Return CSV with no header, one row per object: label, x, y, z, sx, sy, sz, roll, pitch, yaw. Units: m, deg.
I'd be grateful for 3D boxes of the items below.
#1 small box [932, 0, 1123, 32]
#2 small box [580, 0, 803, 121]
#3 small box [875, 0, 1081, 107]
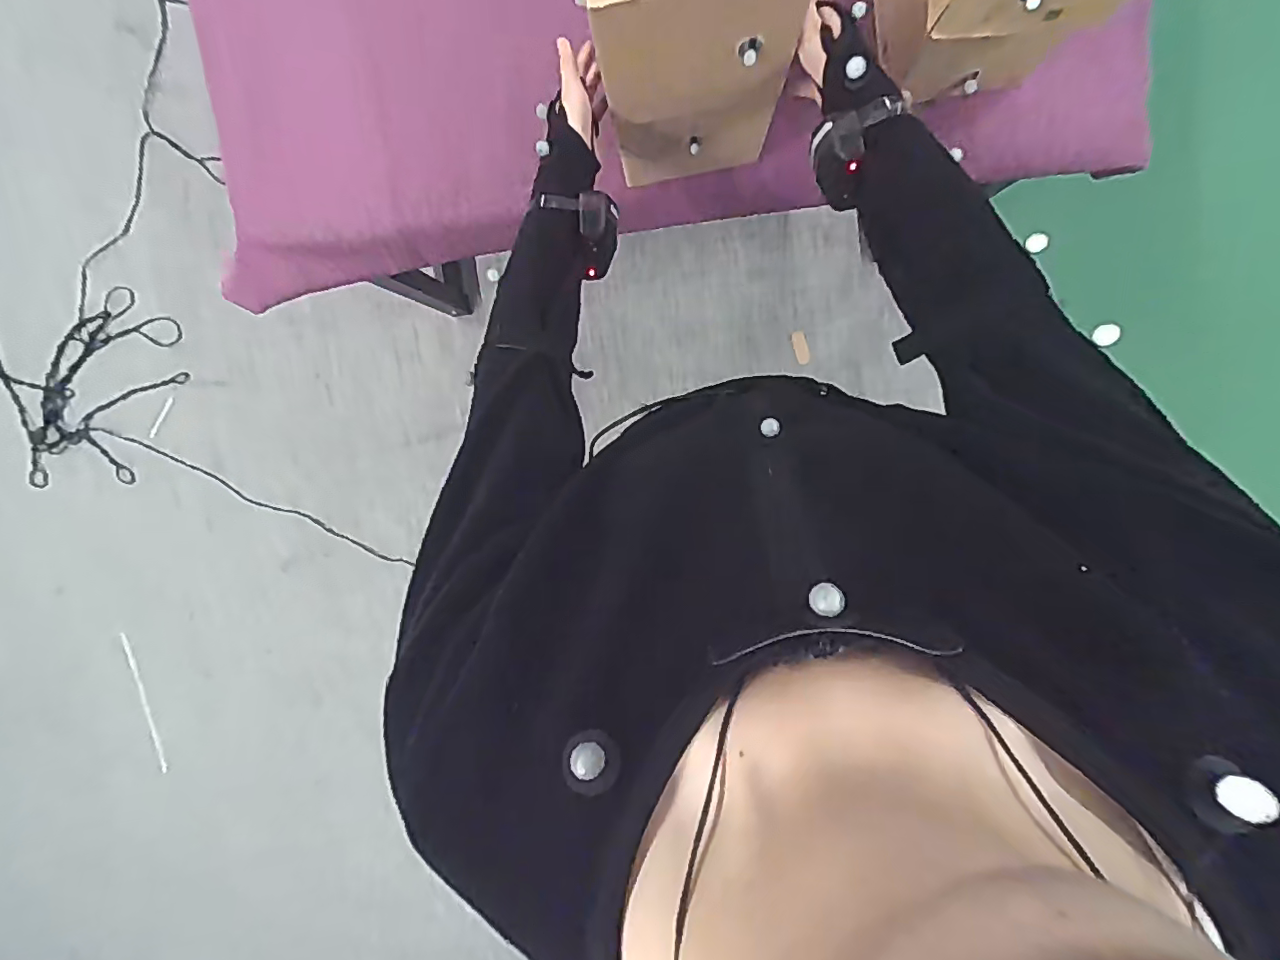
small box,0.358,-0.514,0.435,0.168,0.176,0.179,1,97,5
small box,0.038,-0.447,0.463,0.179,0.176,0.168,-7,95,5
small box,0.381,-0.553,0.594,0.179,0.176,0.168,-7,95,6
